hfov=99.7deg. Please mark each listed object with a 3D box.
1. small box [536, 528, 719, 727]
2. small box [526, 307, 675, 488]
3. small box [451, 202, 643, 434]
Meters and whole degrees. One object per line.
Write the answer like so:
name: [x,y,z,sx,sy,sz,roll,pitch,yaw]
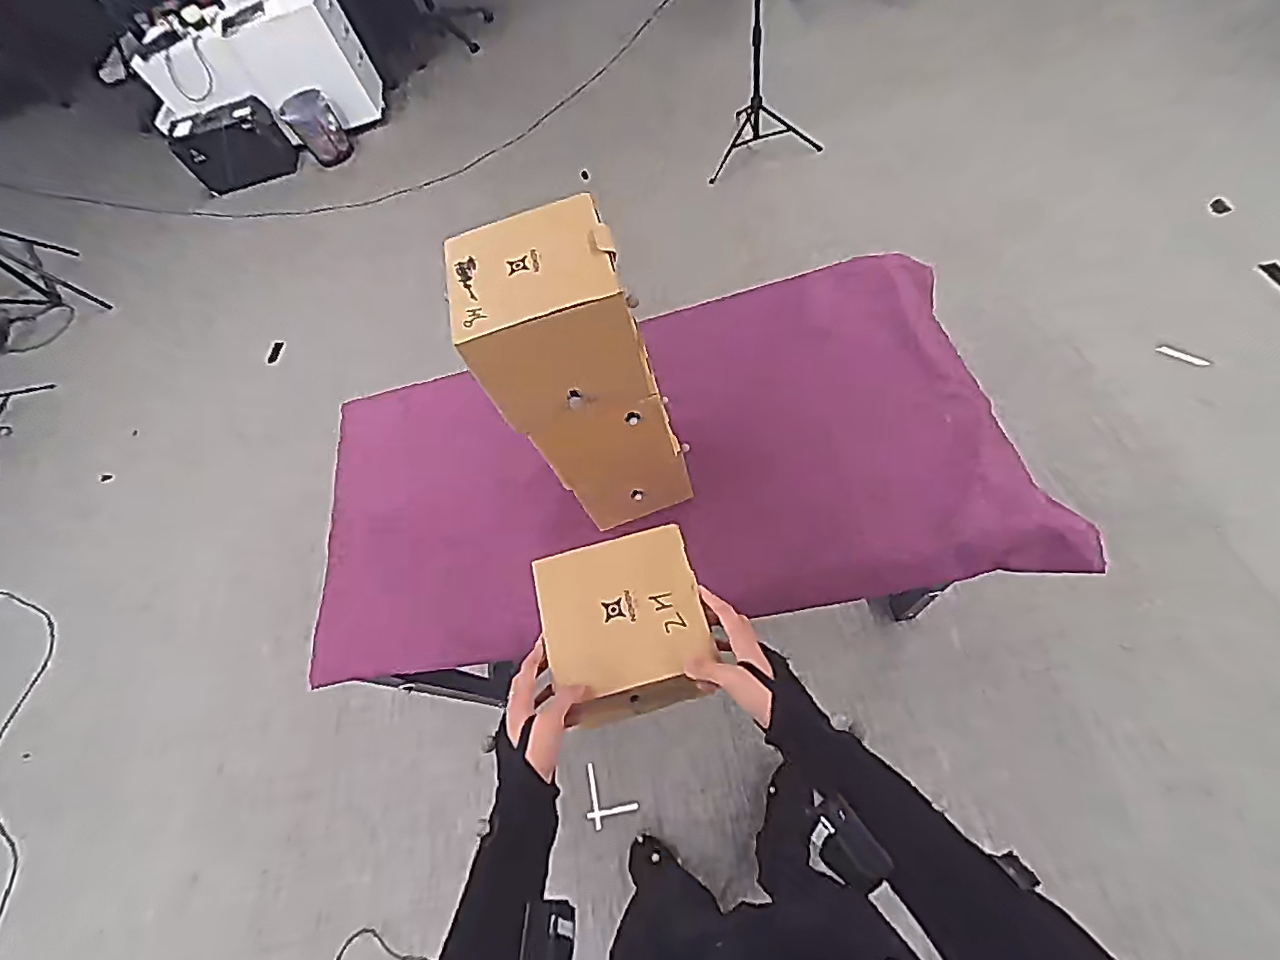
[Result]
small box: [-0.012,0.184,0.650,0.179,0.176,0.168,-14,59,-4]
small box: [-0.061,-0.108,0.774,0.179,0.176,0.168,-16,61,3]
small box: [-0.099,-0.179,0.631,0.179,0.176,0.168,-16,60,3]
